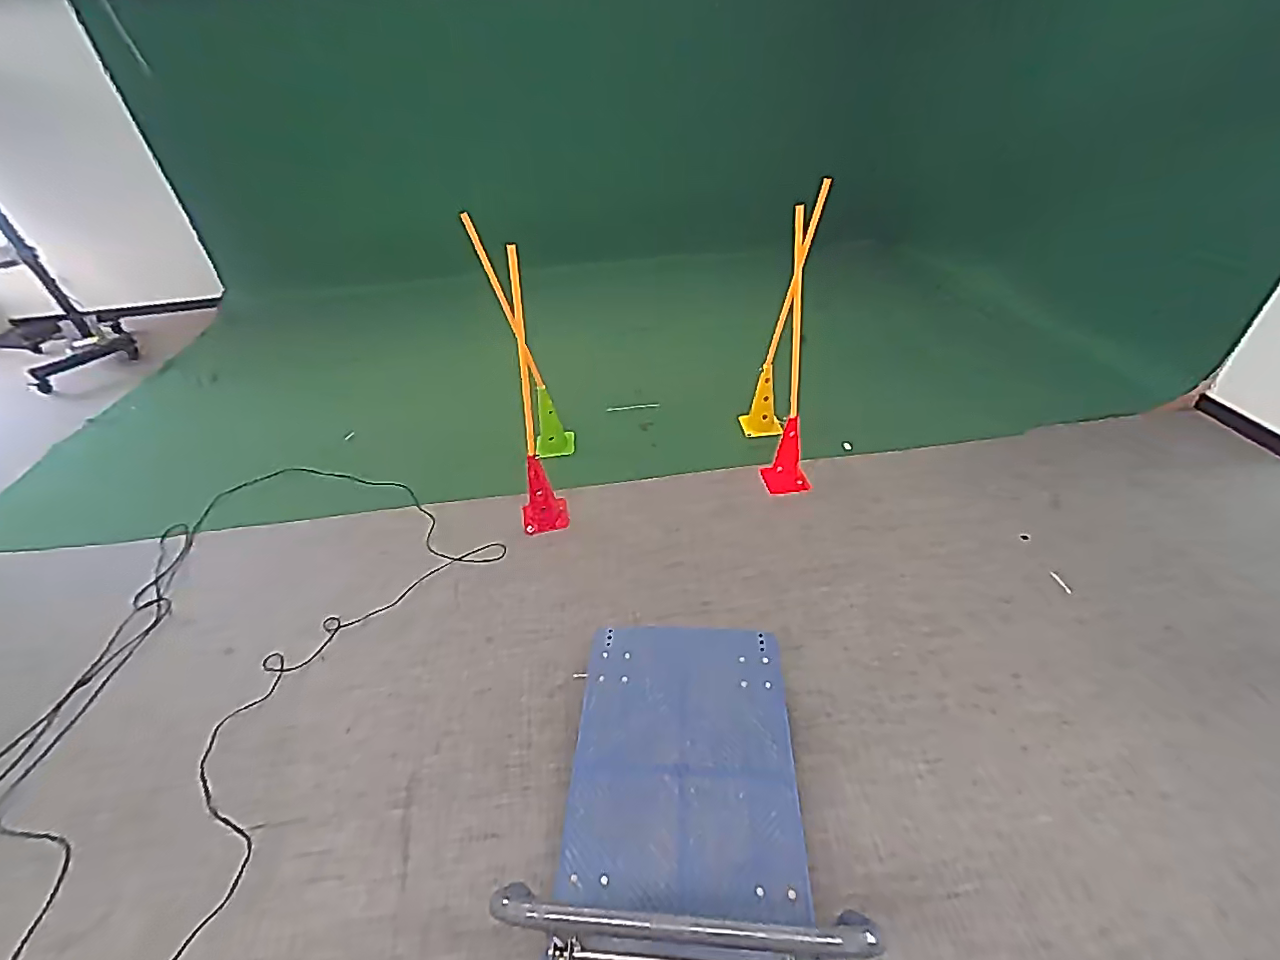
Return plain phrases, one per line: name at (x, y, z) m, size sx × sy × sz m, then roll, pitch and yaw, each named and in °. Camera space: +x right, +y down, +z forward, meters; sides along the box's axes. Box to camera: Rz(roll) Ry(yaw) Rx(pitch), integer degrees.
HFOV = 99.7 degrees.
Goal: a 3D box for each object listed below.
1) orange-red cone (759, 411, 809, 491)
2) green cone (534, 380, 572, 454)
orange-red cone at (0.660, -0.149, 2.413) m, size 0.198 × 0.360 × 0.199 m, roll -6°, pitch 38°, yaw -3°
green cone at (-0.470, -0.335, 2.737) m, size 0.200 × 0.368 × 0.202 m, roll -7°, pitch 39°, yaw -2°
